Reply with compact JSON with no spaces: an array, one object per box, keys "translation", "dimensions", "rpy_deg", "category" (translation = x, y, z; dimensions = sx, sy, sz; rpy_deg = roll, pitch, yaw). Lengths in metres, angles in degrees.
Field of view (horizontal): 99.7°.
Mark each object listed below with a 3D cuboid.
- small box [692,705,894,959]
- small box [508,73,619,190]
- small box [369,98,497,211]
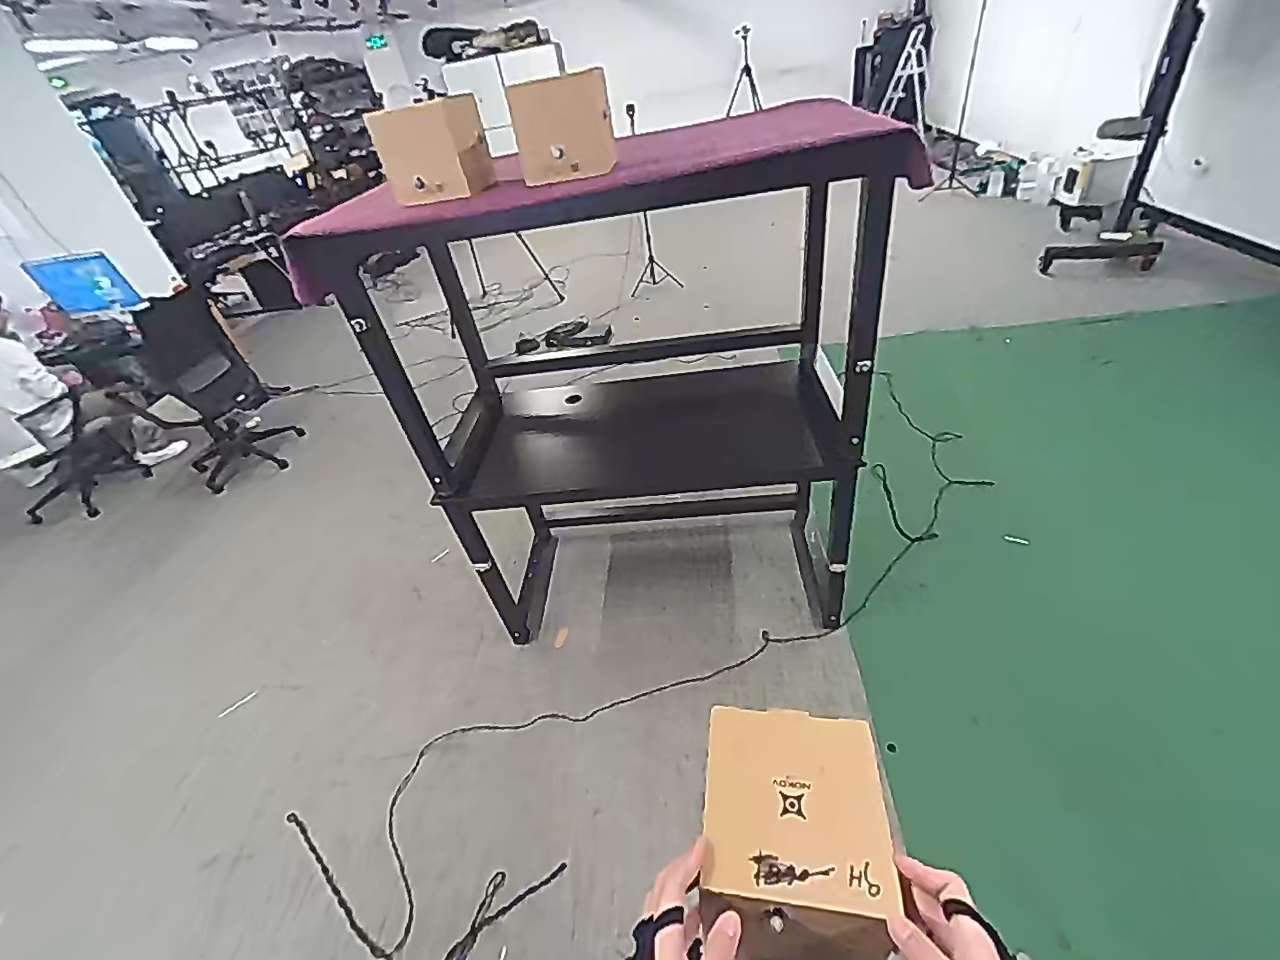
[{"translation":[0.146,0.367,0.559],"dimensions":[0.168,0.176,0.179],"rpy_deg":[1,35,12],"category":"small box"},{"translation":[-0.142,-0.694,1.080],"dimensions":[0.168,0.176,0.179],"rpy_deg":[-4,38,10],"category":"small box"},{"translation":[-0.415,-0.675,1.124],"dimensions":[0.168,0.176,0.179],"rpy_deg":[-3,38,11],"category":"small box"}]
